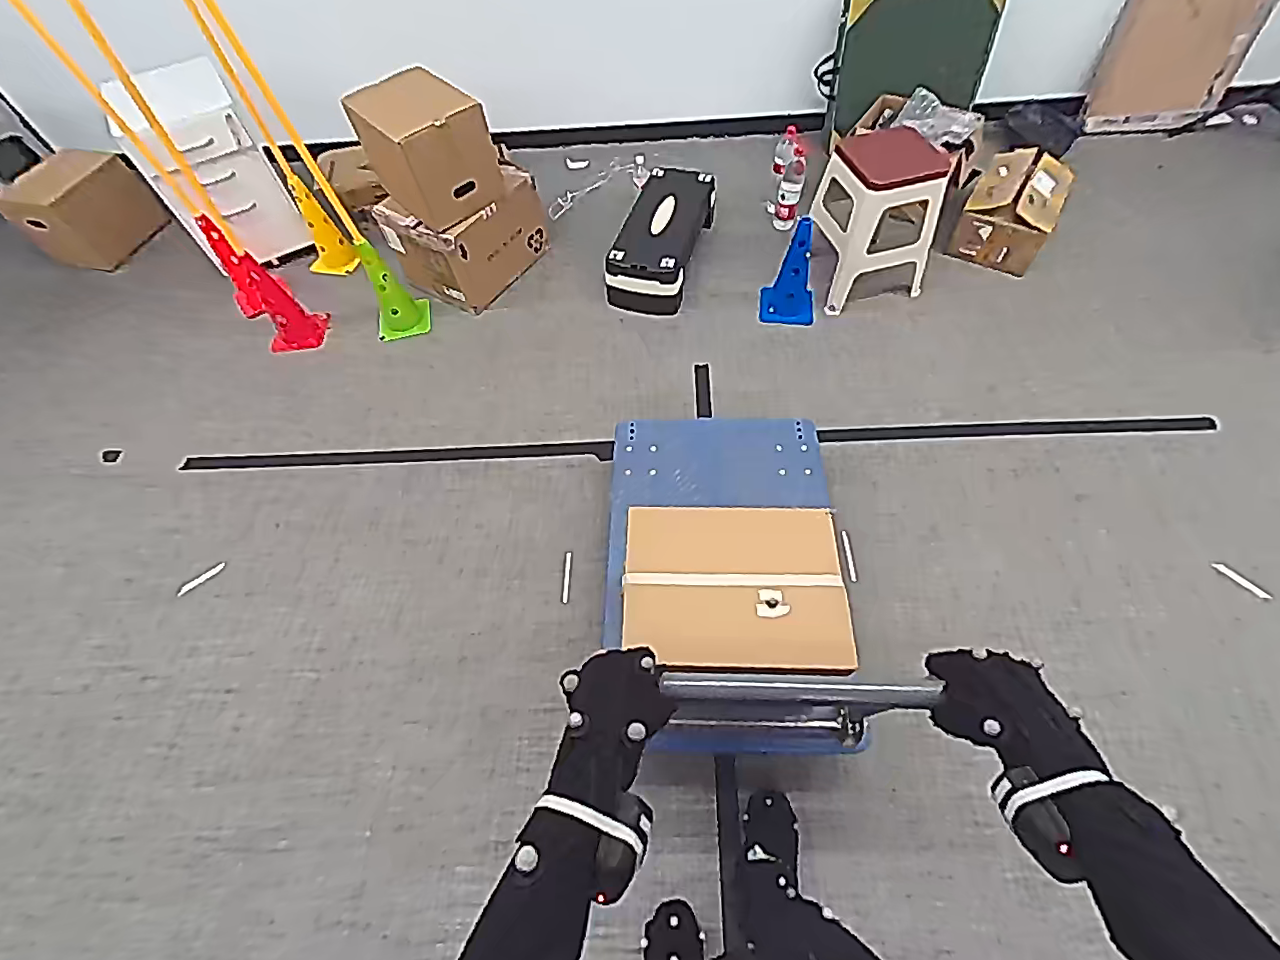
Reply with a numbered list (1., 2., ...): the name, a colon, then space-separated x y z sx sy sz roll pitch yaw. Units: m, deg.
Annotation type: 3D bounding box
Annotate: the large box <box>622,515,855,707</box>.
1. large box: 0.171 0.279 1.120 0.408 0.320 0.320 0 58 2
